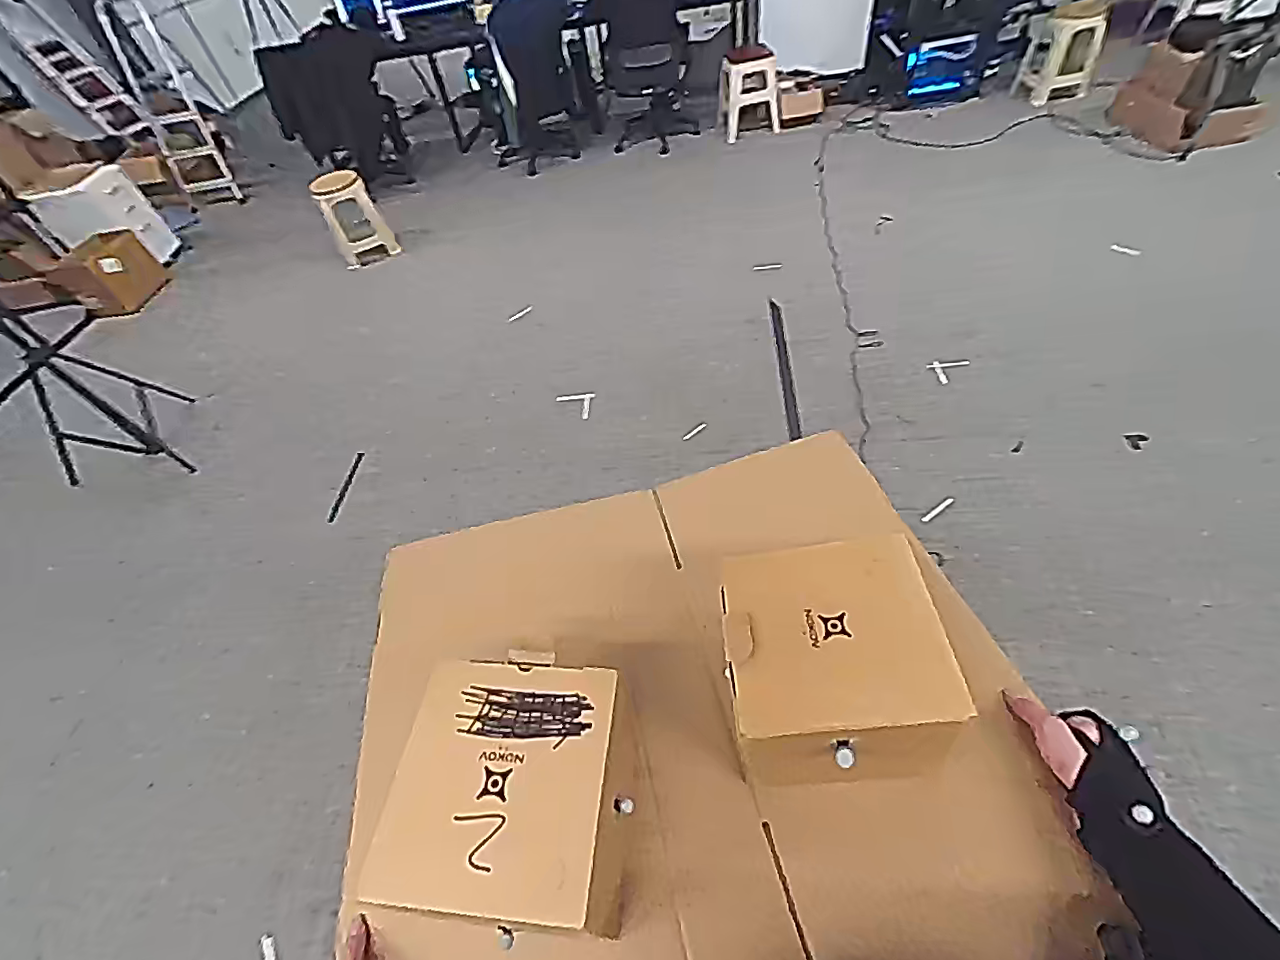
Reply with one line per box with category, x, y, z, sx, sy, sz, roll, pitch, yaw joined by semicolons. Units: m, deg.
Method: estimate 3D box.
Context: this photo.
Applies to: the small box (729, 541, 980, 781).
small box;0.189;0.182;0.526;0.179;0.176;0.168;-9;48;11
